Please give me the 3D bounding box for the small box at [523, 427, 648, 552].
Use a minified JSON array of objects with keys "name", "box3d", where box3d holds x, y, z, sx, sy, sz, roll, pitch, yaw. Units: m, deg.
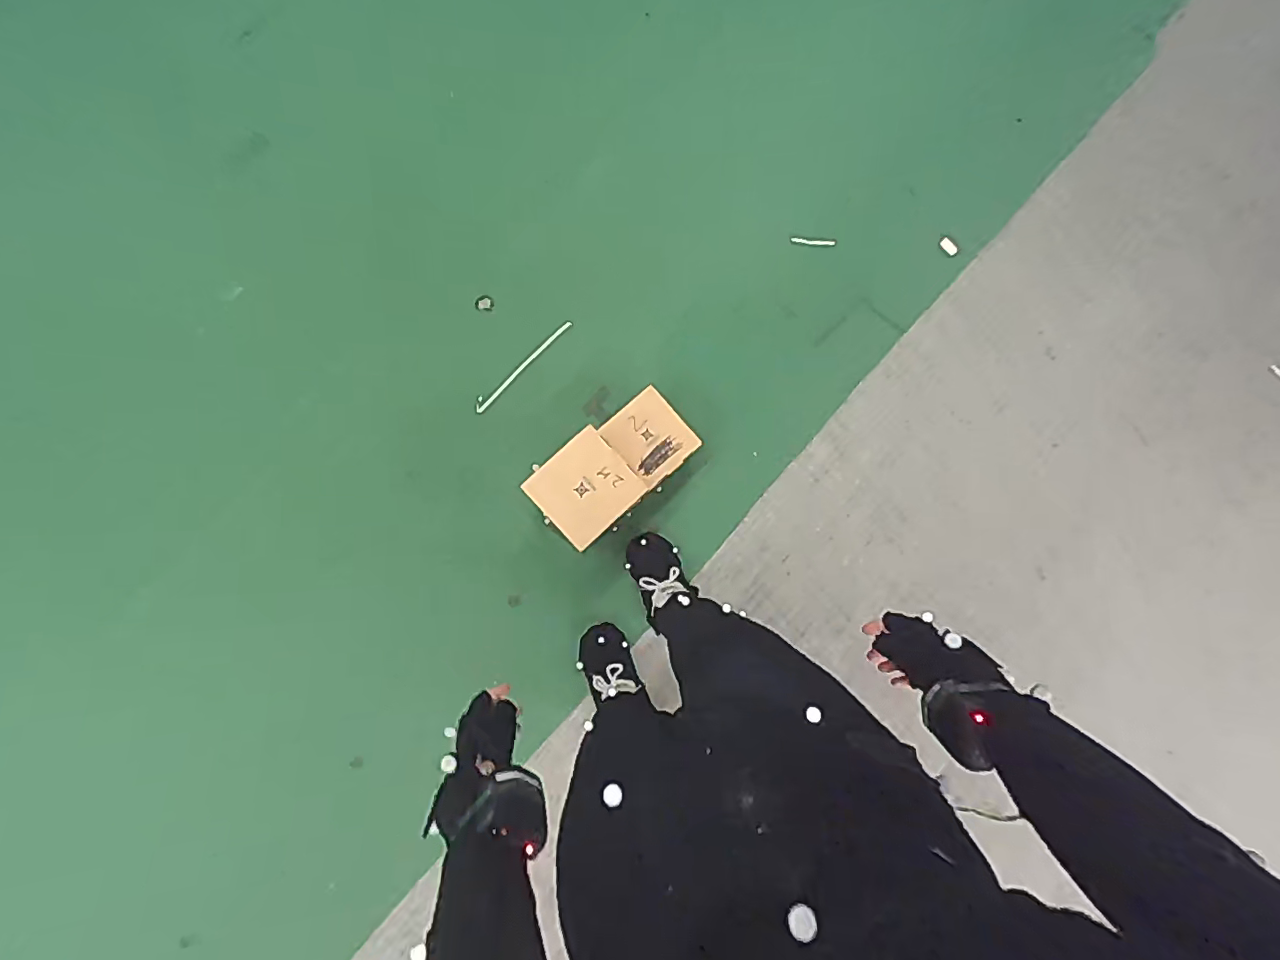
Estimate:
[{"name":"small box","box3d":[-0.104,0.024,1.070,0.179,0.176,0.168,-43,90,-8]}]
